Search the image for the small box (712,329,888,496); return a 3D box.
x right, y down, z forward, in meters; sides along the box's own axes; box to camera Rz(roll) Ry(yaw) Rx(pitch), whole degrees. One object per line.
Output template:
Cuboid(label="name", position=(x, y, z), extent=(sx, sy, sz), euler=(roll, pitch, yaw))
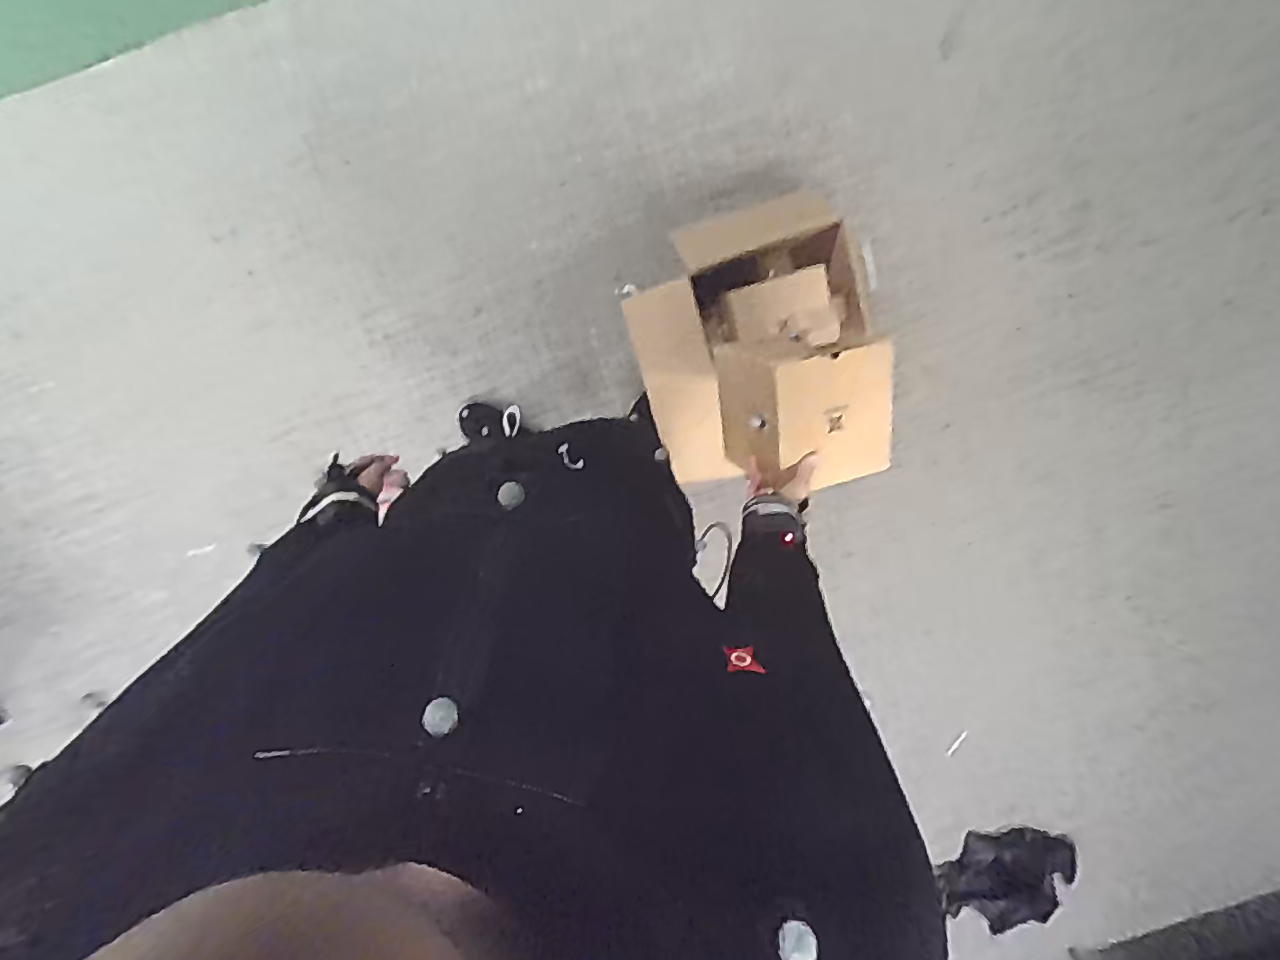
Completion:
Cuboid(label="small box", position=(0.212, -0.102, 0.745), extent=(0.168, 0.176, 0.179), euler=(-15, 113, -14))

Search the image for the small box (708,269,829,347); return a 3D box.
Cuboid(label="small box", position=(0.247, -0.300, 1.054), extent=(0.179, 0.176, 0.168), euler=(-16, 106, 1))
